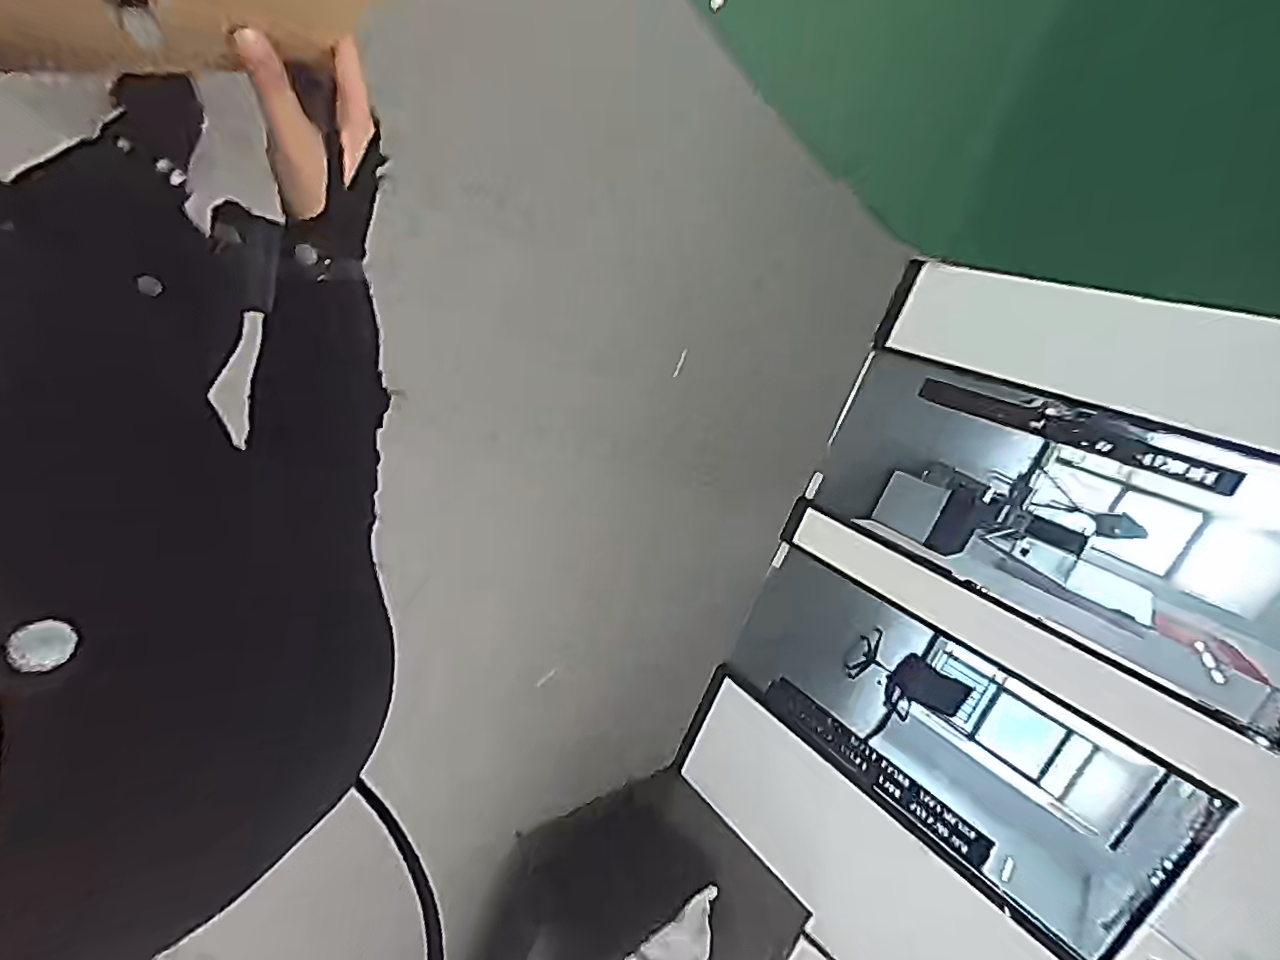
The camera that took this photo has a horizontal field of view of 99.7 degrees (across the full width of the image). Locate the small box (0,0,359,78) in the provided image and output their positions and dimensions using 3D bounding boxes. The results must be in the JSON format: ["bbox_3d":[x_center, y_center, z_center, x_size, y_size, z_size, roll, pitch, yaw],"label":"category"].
[{"bbox_3d":[-0.231,-0.281,0.215,0.179,0.176,0.168,-35,126,-36],"label":"small box"}]
